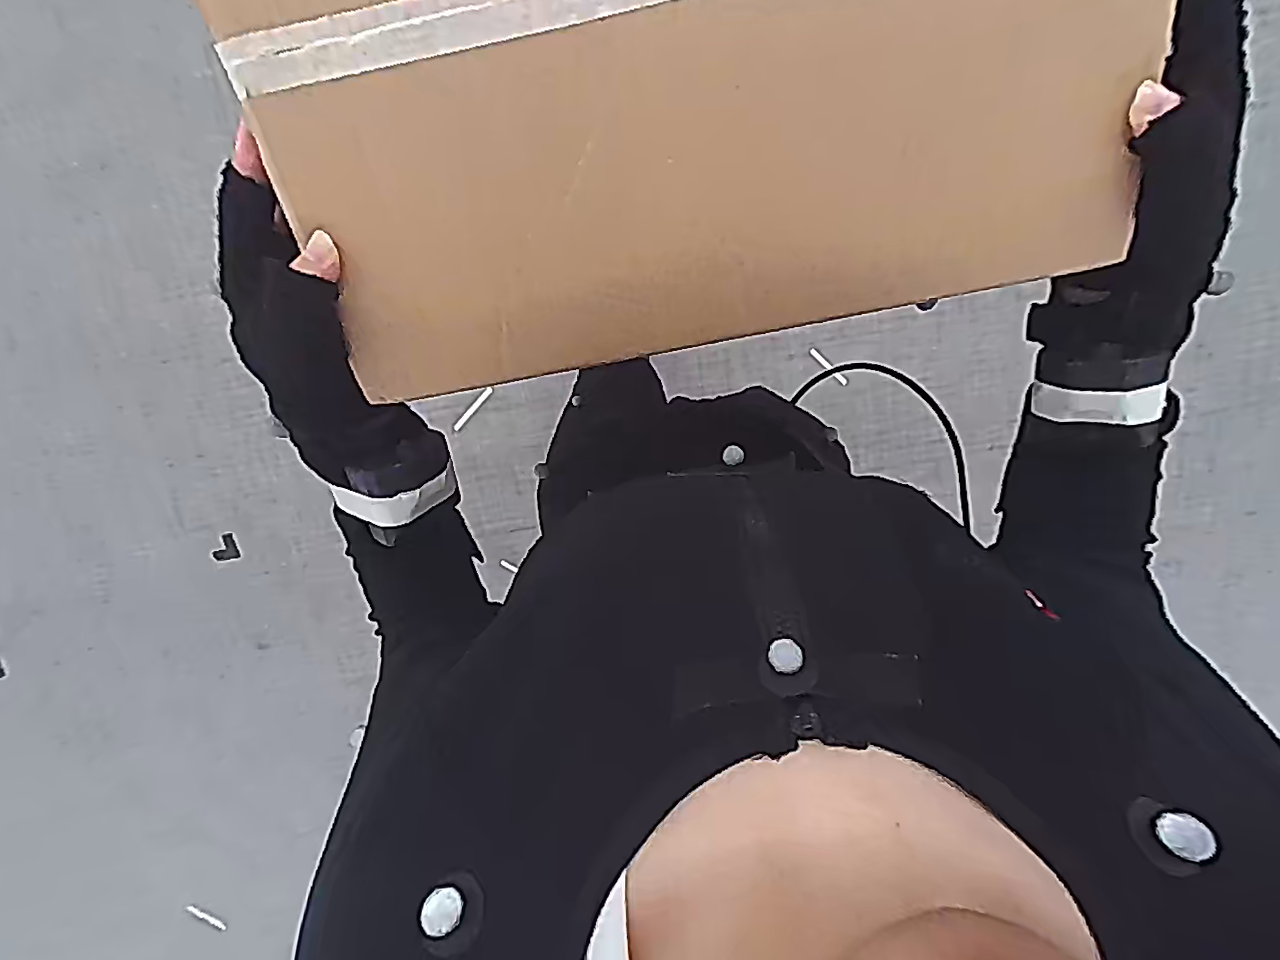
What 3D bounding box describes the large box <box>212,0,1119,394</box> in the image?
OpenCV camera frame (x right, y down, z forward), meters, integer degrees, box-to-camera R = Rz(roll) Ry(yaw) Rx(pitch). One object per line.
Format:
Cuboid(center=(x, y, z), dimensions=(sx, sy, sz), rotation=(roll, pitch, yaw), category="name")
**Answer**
Cuboid(center=(0.011, -0.285, 0.369), dimensions=(0.408, 0.320, 0.320), rotation=(-10, 114, 4), category="large box")
